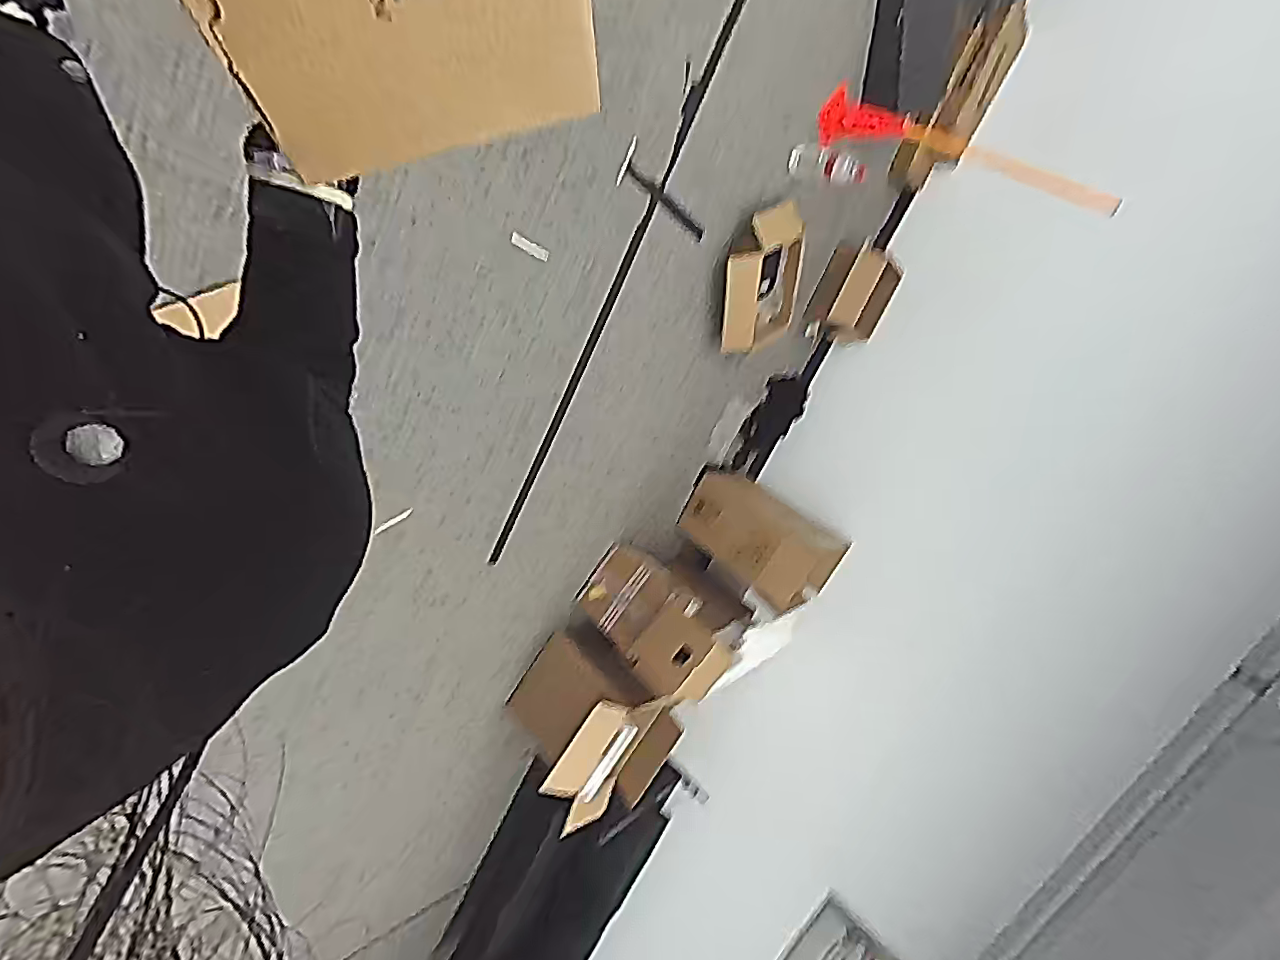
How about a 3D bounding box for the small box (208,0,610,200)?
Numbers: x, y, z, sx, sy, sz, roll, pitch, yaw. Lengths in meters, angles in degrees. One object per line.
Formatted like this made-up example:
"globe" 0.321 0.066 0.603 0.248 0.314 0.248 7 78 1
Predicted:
"small box" -0.129 -0.289 0.280 0.179 0.176 0.168 -20 154 -9
